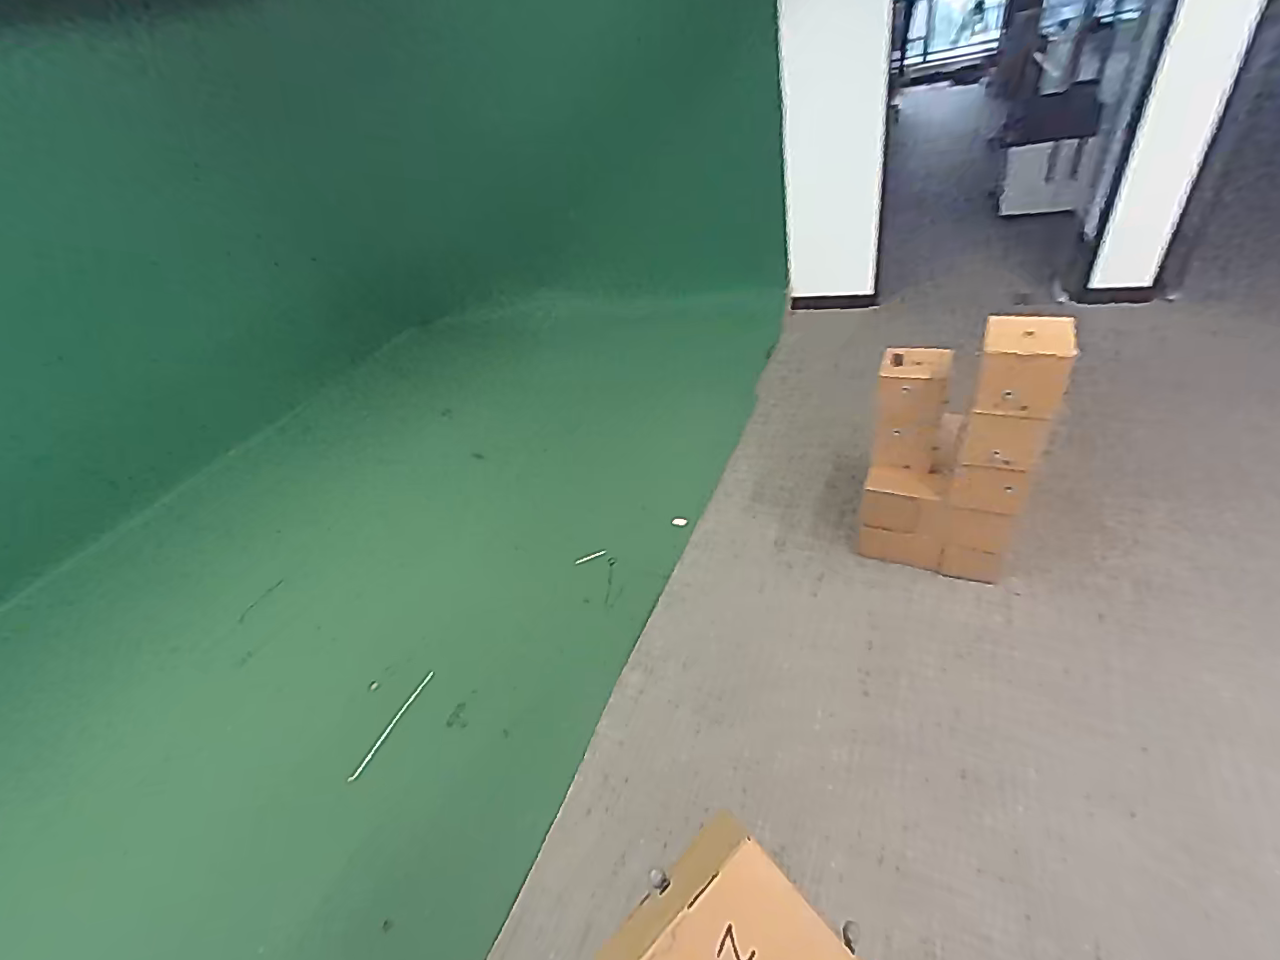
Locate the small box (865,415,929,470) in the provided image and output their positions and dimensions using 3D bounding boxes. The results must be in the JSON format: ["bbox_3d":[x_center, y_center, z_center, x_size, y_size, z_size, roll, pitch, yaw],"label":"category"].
[{"bbox_3d":[0.803,-0.156,1.685,0.168,0.176,0.179,9,43,28],"label":"small box"}]

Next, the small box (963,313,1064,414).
[{"bbox_3d":[0.880,-0.279,1.285,0.168,0.176,0.179,10,46,27],"label":"small box"}]

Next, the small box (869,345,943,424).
[{"bbox_3d":[0.772,-0.279,1.576,0.179,0.176,0.168,8,44,28],"label":"small box"}]

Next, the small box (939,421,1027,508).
[{"bbox_3d":[0.946,-0.042,1.500,0.179,0.176,0.168,8,44,26],"label":"small box"}]
